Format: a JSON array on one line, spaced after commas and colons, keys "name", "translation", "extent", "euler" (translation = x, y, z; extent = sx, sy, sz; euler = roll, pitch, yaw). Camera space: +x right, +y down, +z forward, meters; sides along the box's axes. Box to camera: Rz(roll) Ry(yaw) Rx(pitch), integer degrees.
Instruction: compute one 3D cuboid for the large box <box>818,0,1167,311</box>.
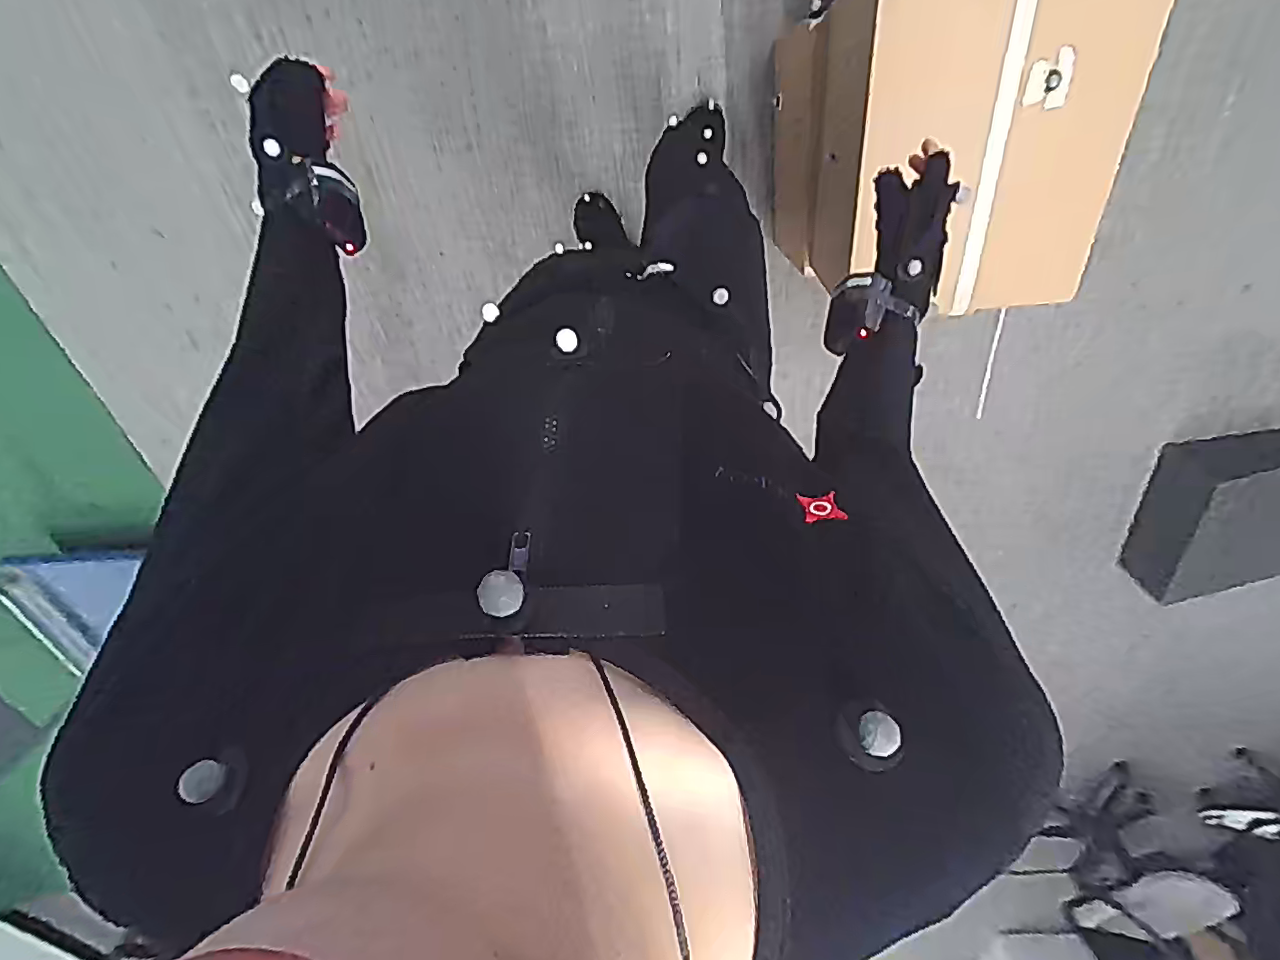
[{"name": "large box", "translation": [0.446, -0.499, 0.788], "extent": [0.320, 0.320, 0.408], "euler": [-2, 123, 8]}]
